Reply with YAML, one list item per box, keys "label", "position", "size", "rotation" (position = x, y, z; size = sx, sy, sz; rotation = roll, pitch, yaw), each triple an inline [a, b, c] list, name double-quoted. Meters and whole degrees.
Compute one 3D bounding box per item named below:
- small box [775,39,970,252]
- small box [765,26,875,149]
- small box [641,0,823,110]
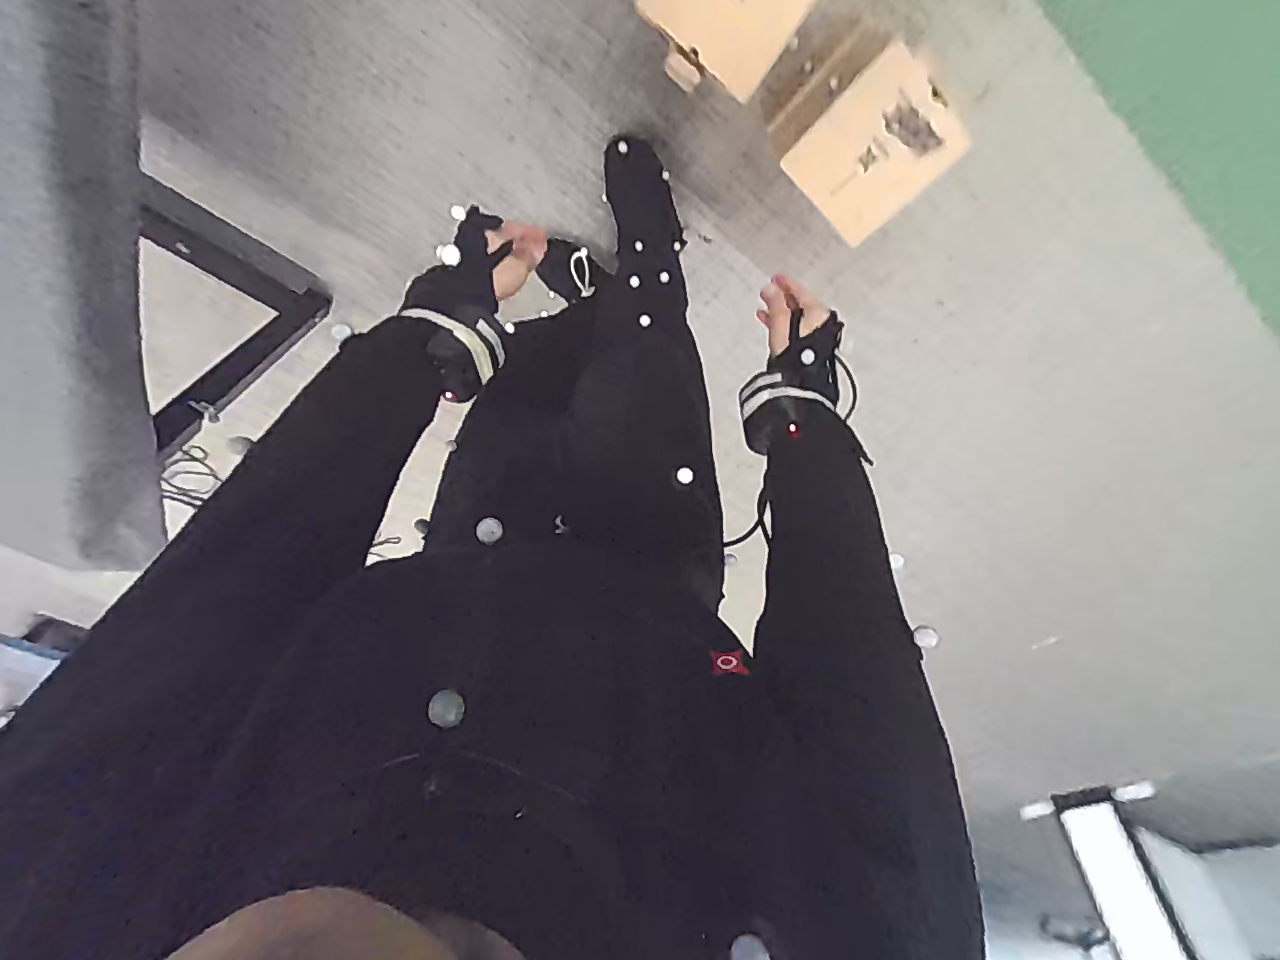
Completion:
- label: "small box"
  position: [0.306, -0.464, 0.749]
  size: [0.168, 0.176, 0.179]
  rotation: [36, 127, -22]
- label: "small box"
  position: [0.317, -0.580, 0.867]
  size: [0.168, 0.176, 0.179]
  rotation: [35, 128, -22]
- label: "small box"
  position: [0.118, -0.597, 0.649]
  size: [0.168, 0.176, 0.179]
  rotation: [29, 129, -19]
